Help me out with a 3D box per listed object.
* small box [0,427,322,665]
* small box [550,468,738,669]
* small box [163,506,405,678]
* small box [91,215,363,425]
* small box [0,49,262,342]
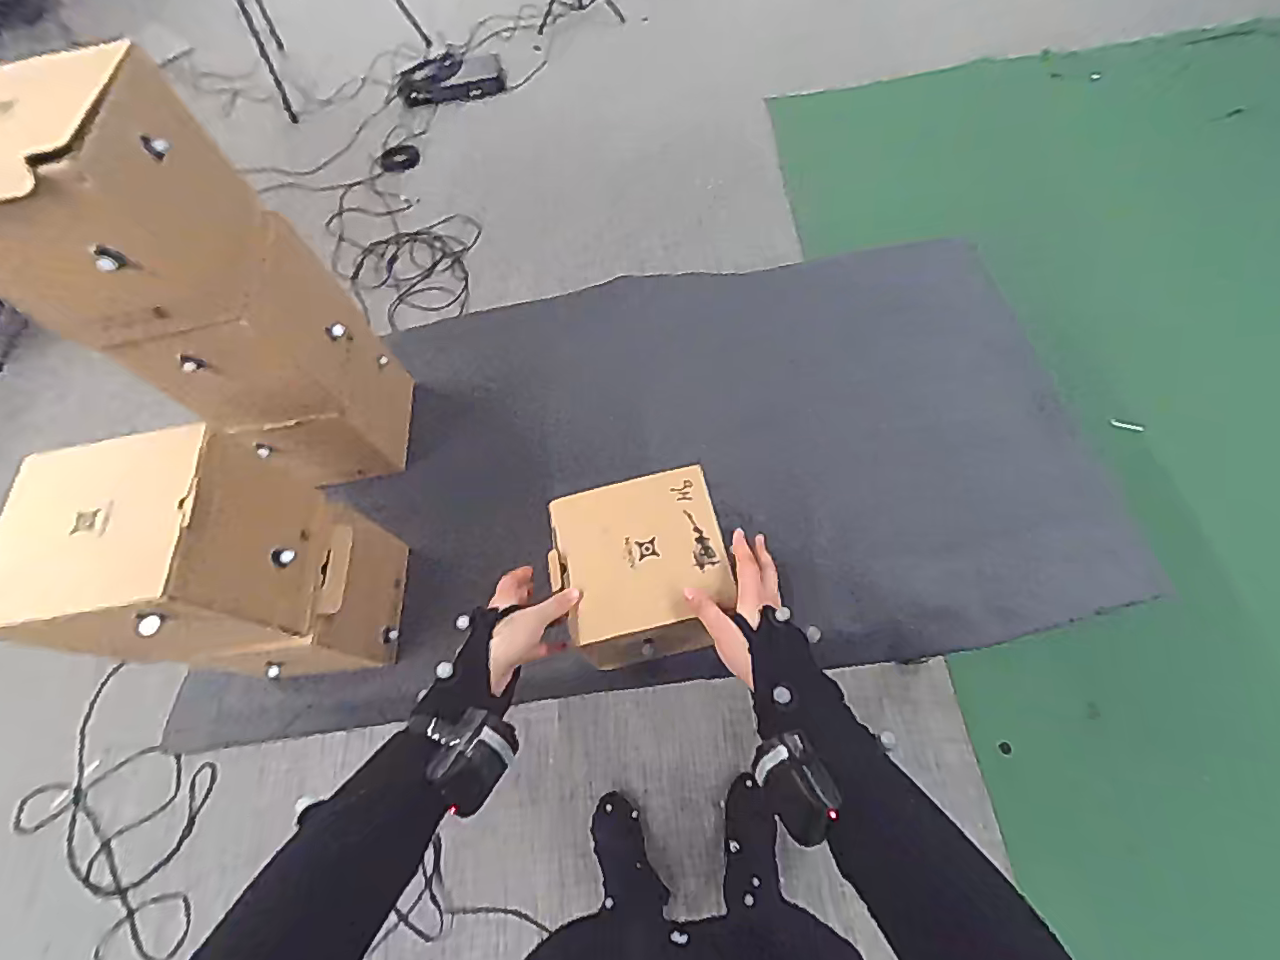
[{"bbox_3d":[-0.450,0.074,0.527,0.179,0.176,0.168,-11,63,1],"label":"small box"},{"bbox_3d":[0.010,0.113,0.632,0.179,0.176,0.168,-14,63,2],"label":"small box"},{"bbox_3d":[-0.417,0.145,0.669,0.179,0.176,0.168,-7,64,4],"label":"small box"},{"bbox_3d":[-0.472,-0.180,0.650,0.179,0.176,0.168,-8,65,3],"label":"small box"},{"bbox_3d":[-0.496,-0.249,0.505,0.168,0.176,0.179,-11,63,0],"label":"small box"}]
